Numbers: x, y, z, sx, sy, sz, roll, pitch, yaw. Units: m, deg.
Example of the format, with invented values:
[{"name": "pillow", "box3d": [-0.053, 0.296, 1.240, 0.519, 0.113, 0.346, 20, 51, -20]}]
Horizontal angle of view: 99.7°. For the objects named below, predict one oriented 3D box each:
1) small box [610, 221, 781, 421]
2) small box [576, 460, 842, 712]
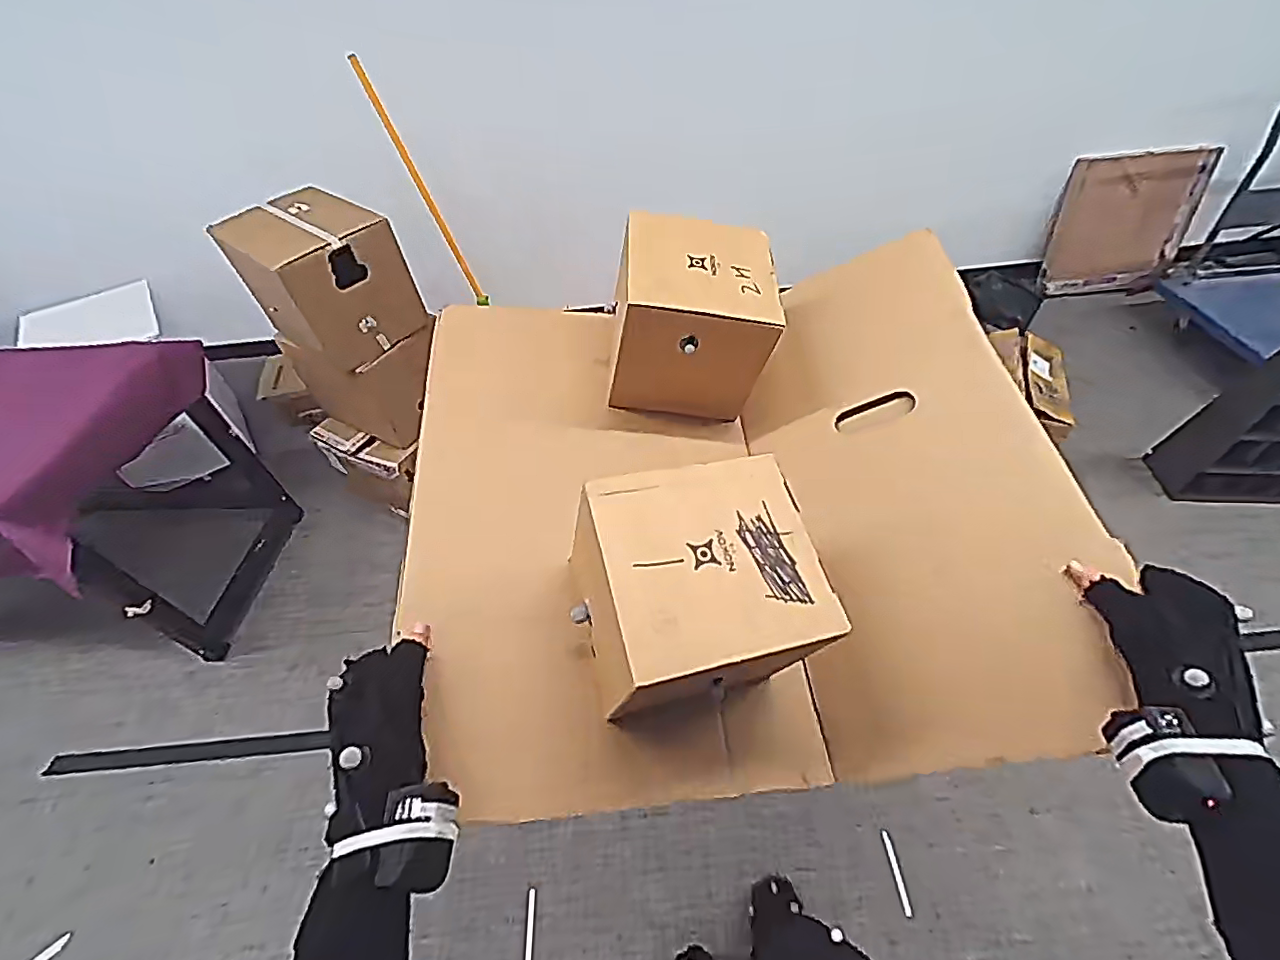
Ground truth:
[{"name": "small box", "box3d": [0.058, -0.193, 0.688, 0.179, 0.176, 0.168, 6, 58, -9]}, {"name": "small box", "box3d": [0.045, 0.102, 0.503, 0.179, 0.176, 0.168, -9, 61, -15]}]
